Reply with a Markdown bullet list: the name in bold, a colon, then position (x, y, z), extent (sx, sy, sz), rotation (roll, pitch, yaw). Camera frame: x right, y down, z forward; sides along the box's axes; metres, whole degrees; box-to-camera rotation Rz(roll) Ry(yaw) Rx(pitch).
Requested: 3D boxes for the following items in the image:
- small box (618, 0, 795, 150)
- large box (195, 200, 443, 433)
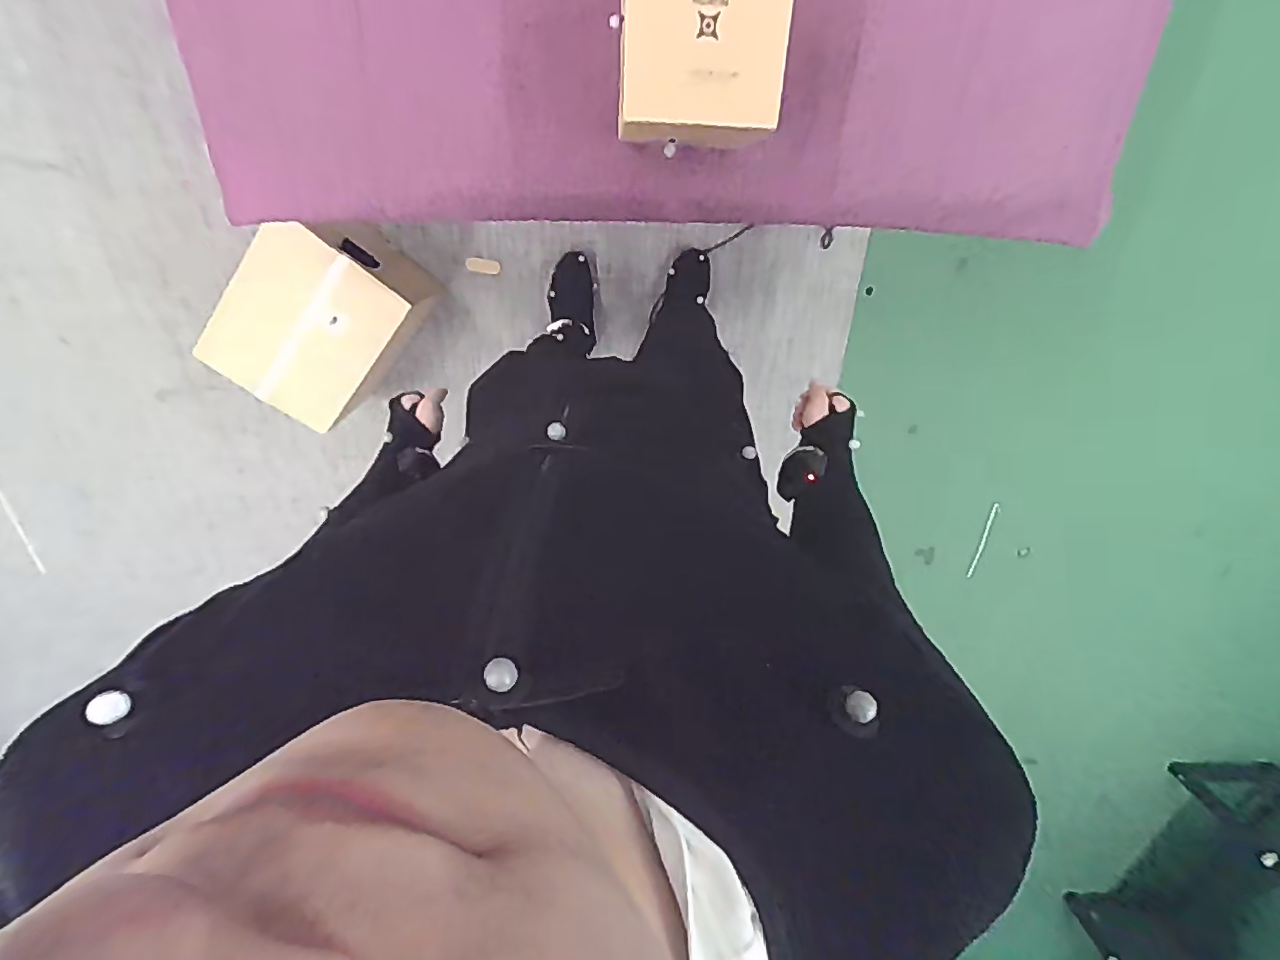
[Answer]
- **small box**: position (0.062, -0.478, 0.593), extent (0.168, 0.176, 0.179), rotation (1, 116, -3)
- **large box**: position (-0.751, -0.397, 1.314), extent (0.320, 0.320, 0.408), rotation (37, 108, -21)
